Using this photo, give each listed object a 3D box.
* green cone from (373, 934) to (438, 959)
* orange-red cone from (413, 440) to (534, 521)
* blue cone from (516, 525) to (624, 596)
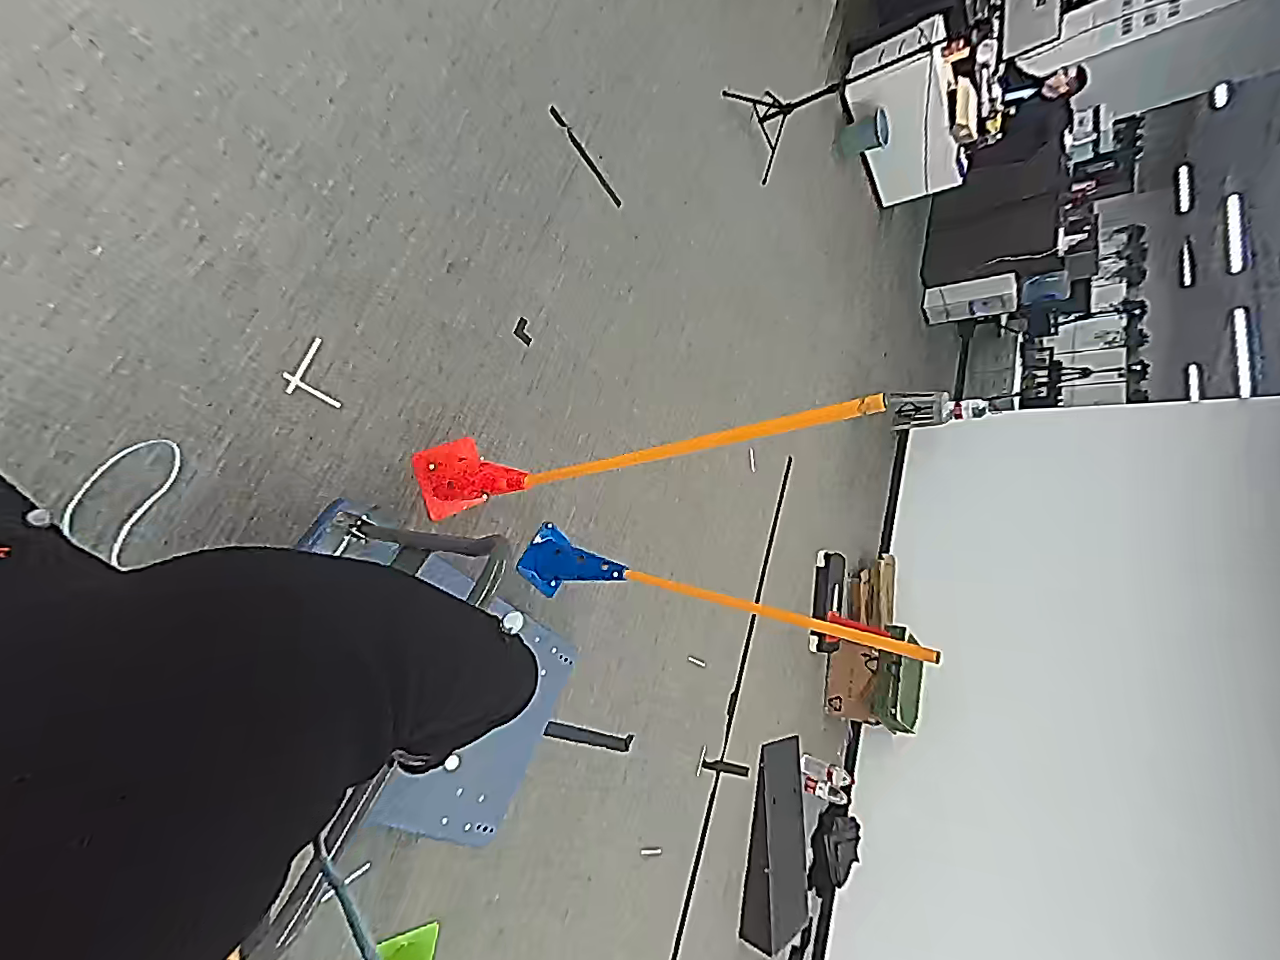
[{"bbox_3d":[-0.517,1.344,1.324,0.202,0.368,0.200,20,76,-47],"label":"green cone"},{"bbox_3d":[-0.405,0.005,1.423,0.198,0.360,0.199,-26,112,-46],"label":"orange-red cone"},{"bbox_3d":[-0.193,0.274,1.705,0.192,0.380,0.193,54,52,-34],"label":"blue cone"}]
